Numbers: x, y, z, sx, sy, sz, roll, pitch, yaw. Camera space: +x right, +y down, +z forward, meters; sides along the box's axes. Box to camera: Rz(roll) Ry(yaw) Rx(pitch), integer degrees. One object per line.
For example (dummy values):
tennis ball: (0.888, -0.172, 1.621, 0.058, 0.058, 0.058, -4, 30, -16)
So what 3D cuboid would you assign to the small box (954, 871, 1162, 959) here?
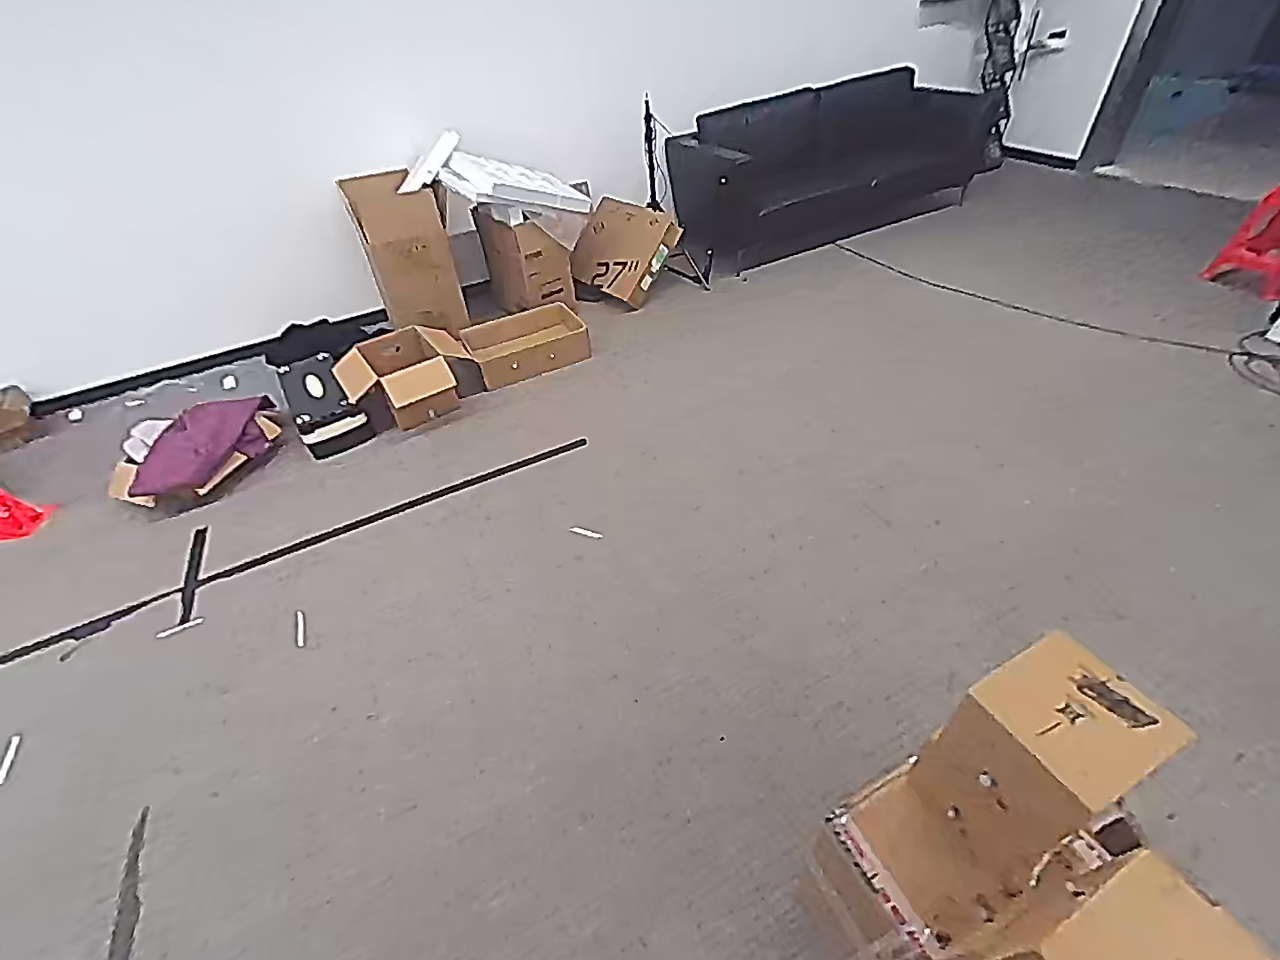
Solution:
small box: (0.514, 0.623, 0.651, 0.179, 0.176, 0.168, -24, 46, -15)

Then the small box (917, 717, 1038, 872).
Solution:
small box: (0.558, 0.450, 0.826, 0.179, 0.176, 0.168, -27, 44, -16)

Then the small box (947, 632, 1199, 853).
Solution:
small box: (0.539, 0.340, 0.704, 0.179, 0.176, 0.168, -24, 44, -14)
